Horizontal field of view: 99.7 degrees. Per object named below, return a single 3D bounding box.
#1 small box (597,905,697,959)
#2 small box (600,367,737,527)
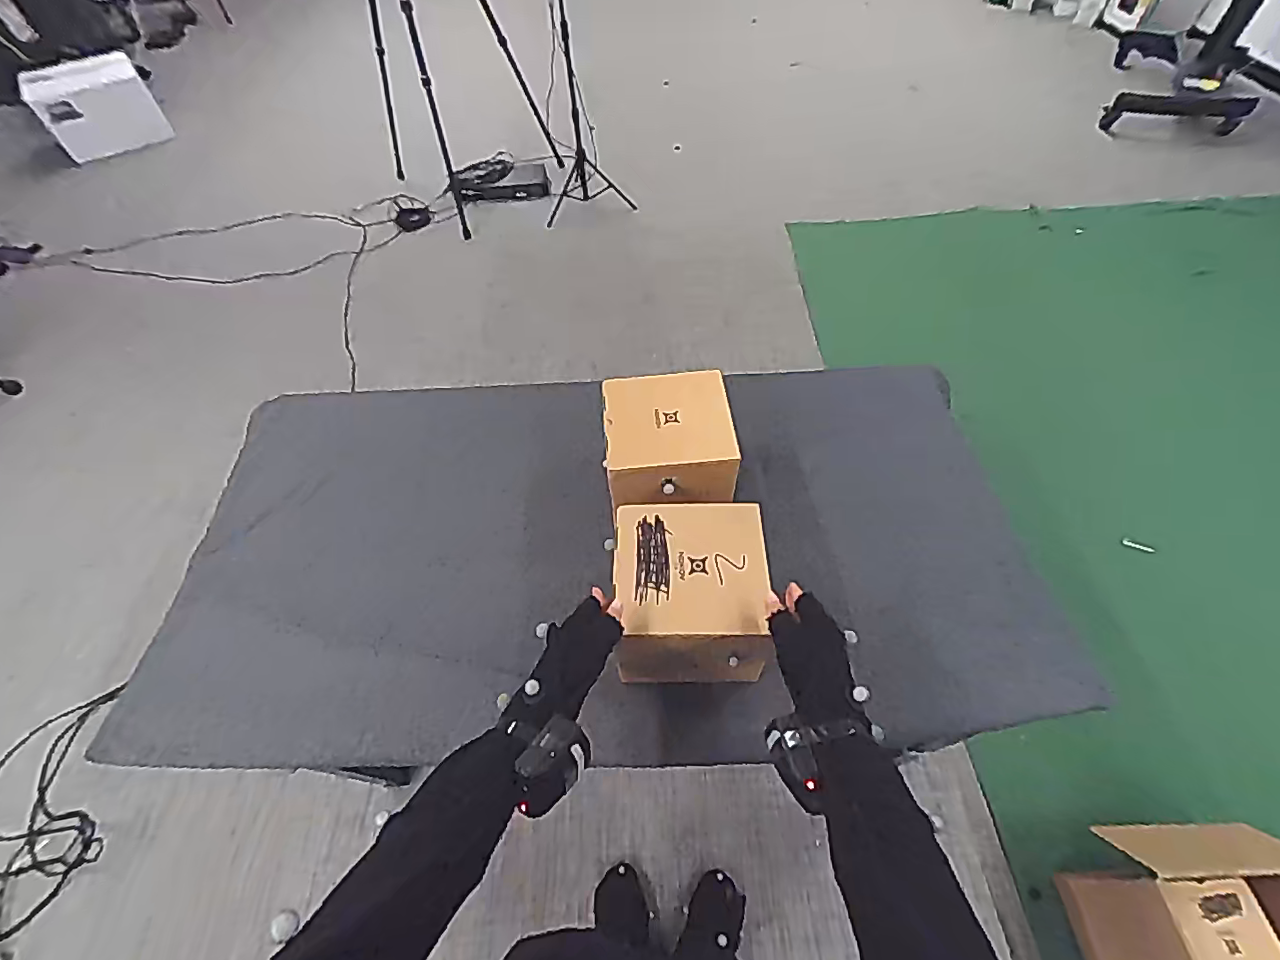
[{"bbox_3d":[0.003,0.955,1.038,0.168,0.176,0.179,13,59,0],"label":"small box"},{"bbox_3d":[0.037,-0.044,0.804,0.179,0.176,0.168,-6,56,0],"label":"small box"}]
